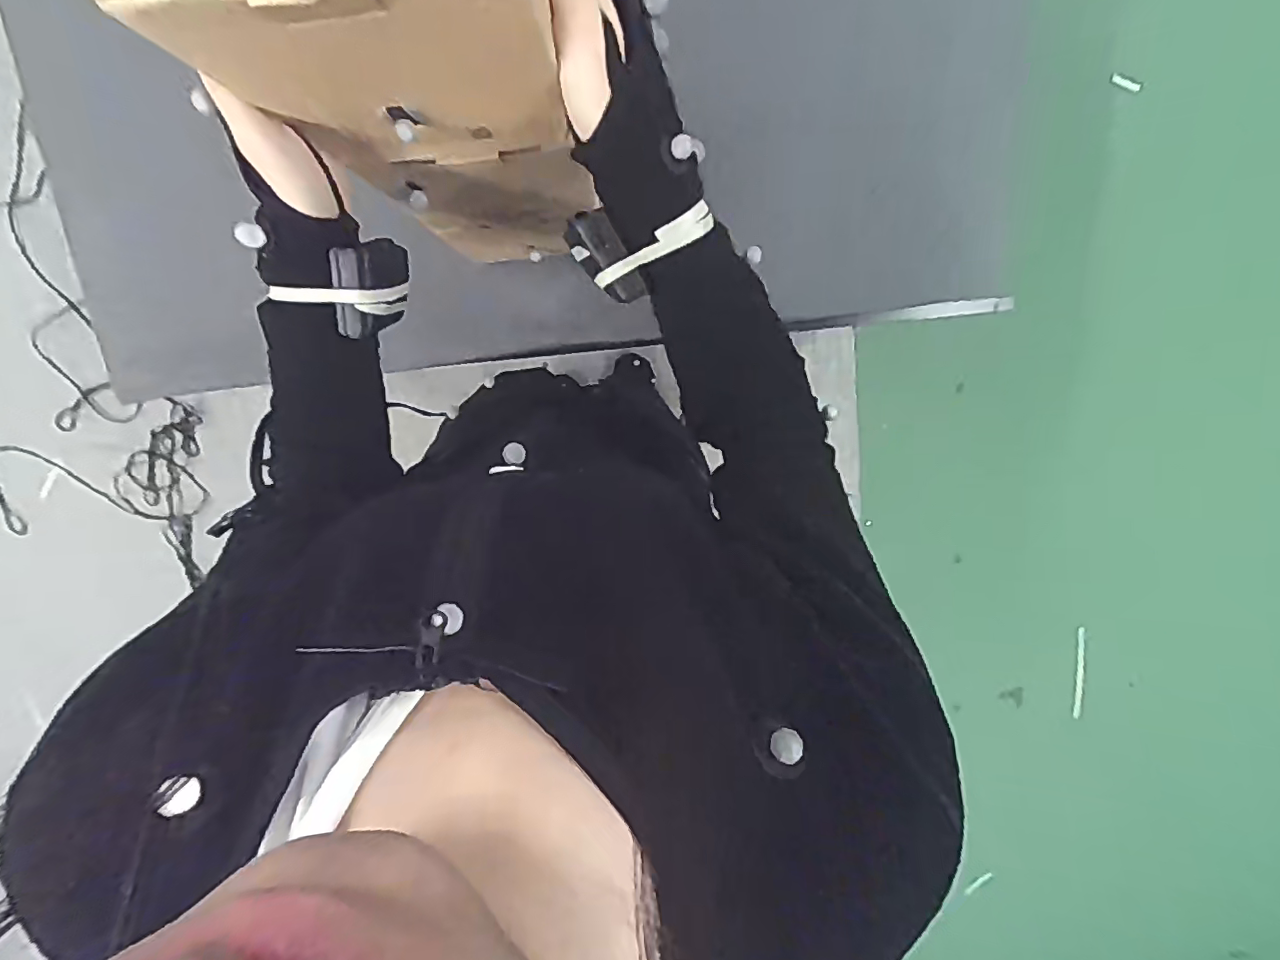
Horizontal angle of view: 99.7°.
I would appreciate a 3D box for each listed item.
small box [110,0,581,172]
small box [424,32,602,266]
[{"bbox_3d":[-0.127,-0.282,0.268,0.168,0.176,0.179,-5,103,3],"label":"small box"},{"bbox_3d":[-0.135,-0.353,0.603,0.168,0.176,0.179,-7,102,1],"label":"small box"}]
